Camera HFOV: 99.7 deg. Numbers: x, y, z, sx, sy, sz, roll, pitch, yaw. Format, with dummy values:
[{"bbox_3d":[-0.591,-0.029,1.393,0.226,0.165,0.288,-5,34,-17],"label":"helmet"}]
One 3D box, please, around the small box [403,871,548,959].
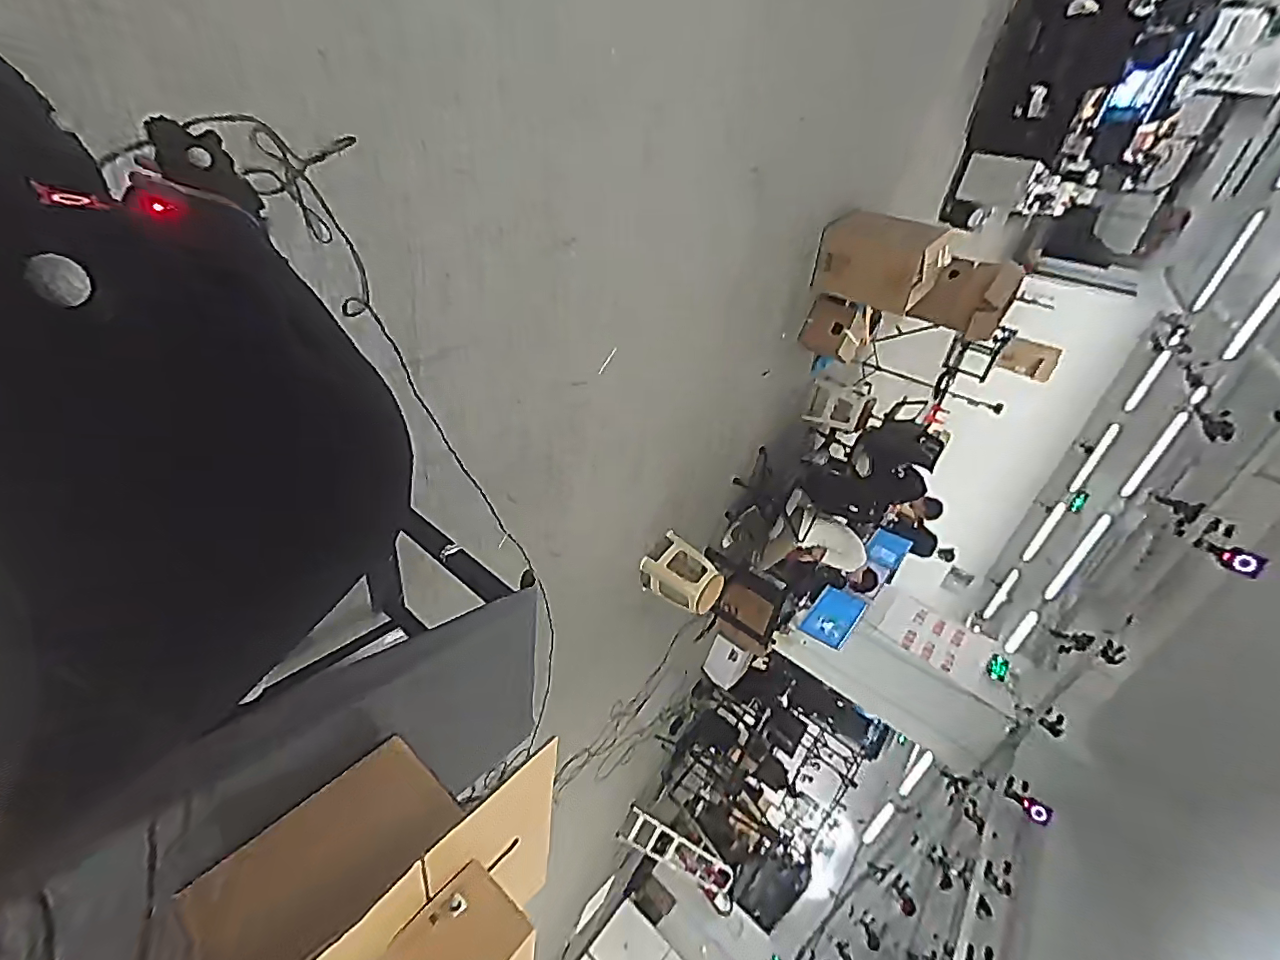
[{"bbox_3d":[-0.276,0.823,0.919,0.168,0.176,0.179,-30,136,-45],"label":"small box"}]
